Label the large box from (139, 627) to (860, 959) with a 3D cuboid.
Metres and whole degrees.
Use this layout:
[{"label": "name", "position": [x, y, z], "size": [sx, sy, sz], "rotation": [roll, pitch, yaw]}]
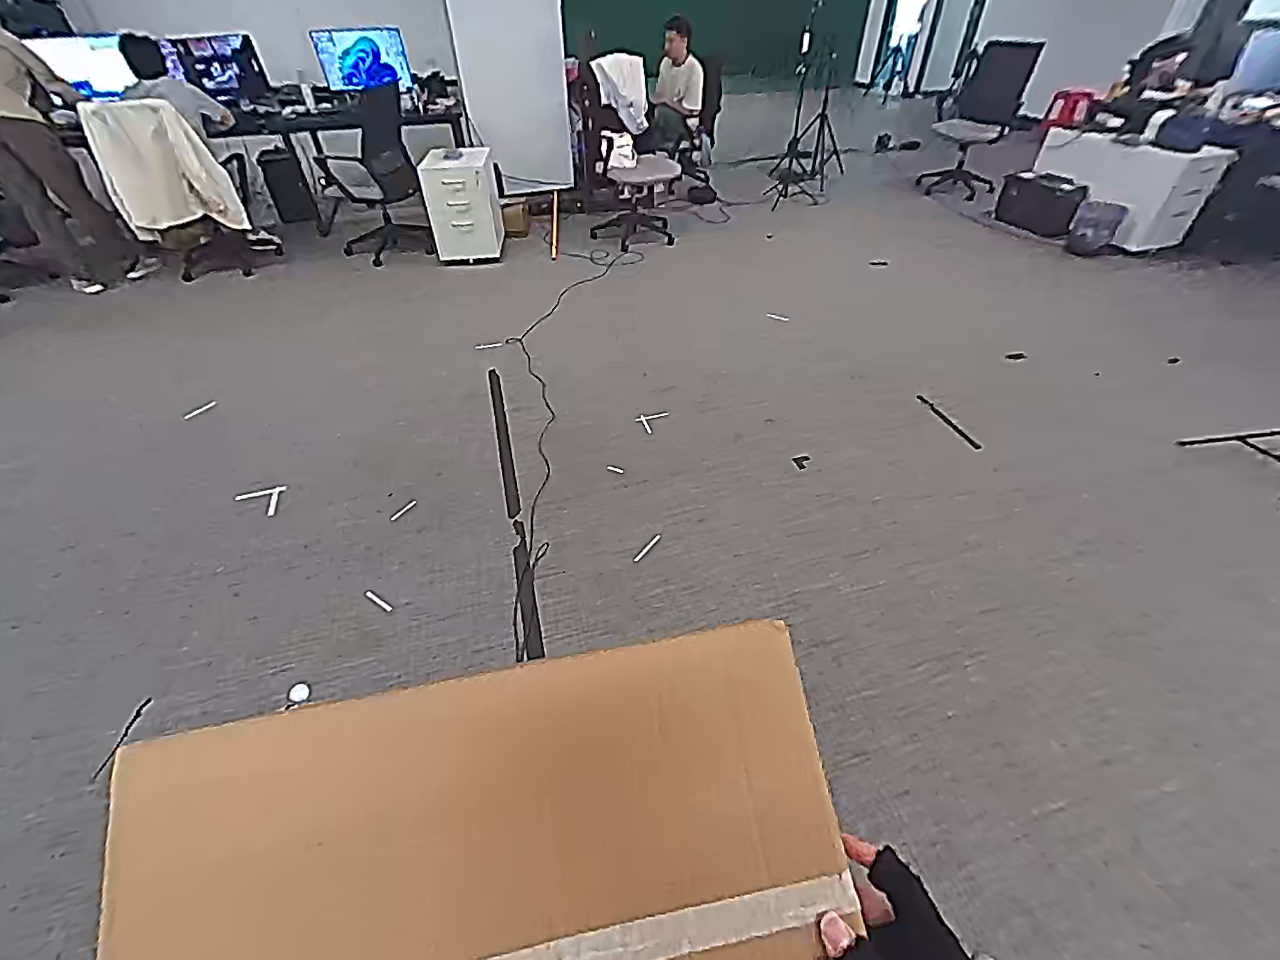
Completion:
[{"label": "large box", "position": [-0.082, 0.322, 0.444], "size": [0.408, 0.320, 0.320], "rotation": [-9, 74, -6]}]
